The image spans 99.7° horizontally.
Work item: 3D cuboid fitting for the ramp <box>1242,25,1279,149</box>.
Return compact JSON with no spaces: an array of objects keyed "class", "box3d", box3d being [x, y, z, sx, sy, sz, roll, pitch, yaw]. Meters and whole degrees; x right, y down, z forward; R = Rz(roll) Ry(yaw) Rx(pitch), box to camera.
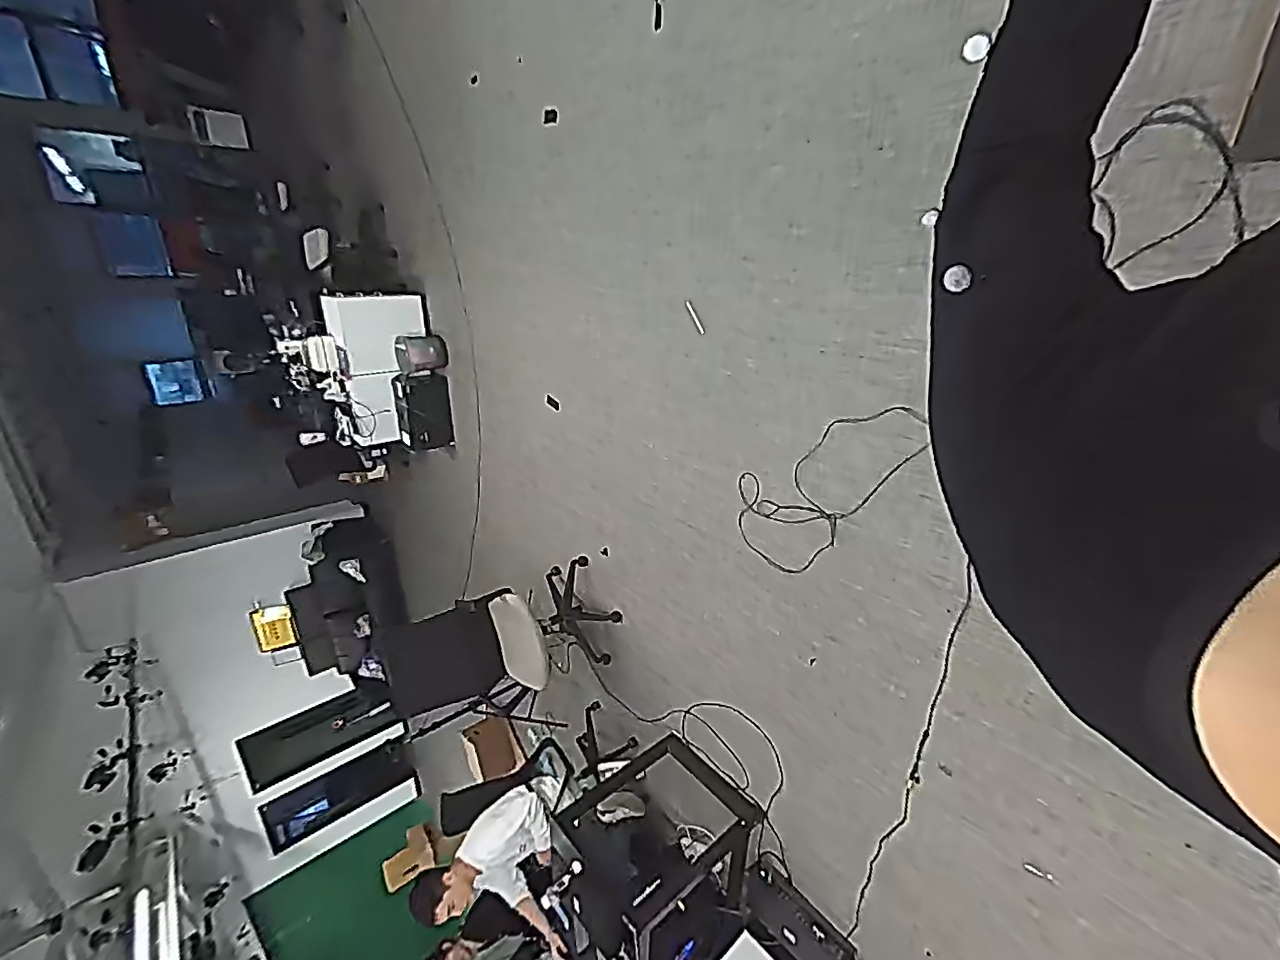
[{"class":"ramp","box3d":[1.149,-0.943,0.545,0.509,0.206,0.991,21,120,45]}]
